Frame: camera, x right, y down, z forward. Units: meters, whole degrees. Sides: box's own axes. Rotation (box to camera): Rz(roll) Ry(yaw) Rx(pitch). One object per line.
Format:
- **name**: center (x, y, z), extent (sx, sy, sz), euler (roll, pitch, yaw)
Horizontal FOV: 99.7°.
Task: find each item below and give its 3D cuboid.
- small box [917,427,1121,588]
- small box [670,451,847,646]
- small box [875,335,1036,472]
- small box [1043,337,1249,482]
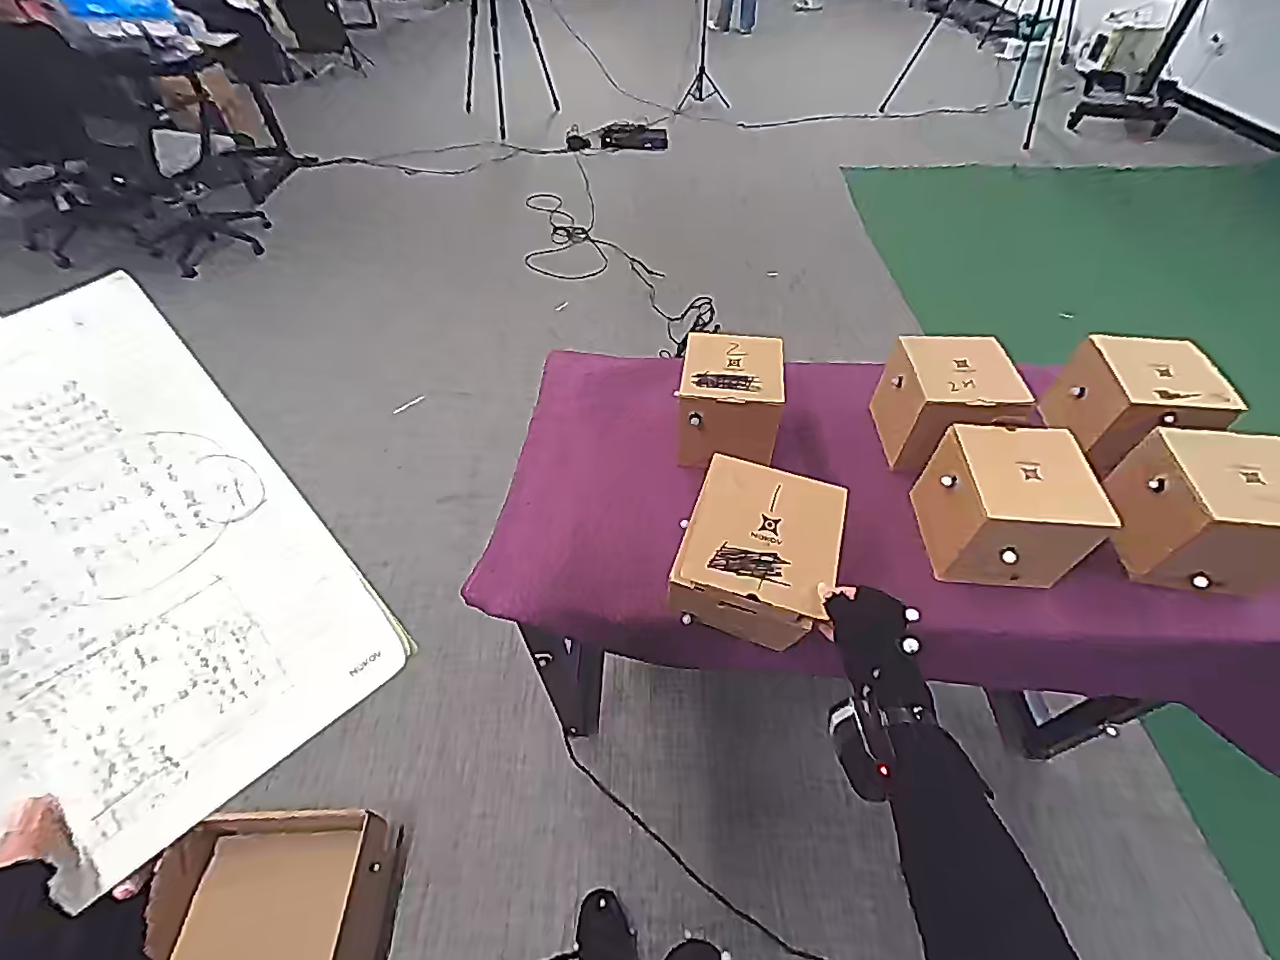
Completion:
- **small box**: center (0.537, 0.043, 0.799), extent (0.168, 0.176, 0.179), euler (4, 51, 5)
- **small box**: center (0.143, 0.096, 0.696), extent (0.168, 0.176, 0.179), euler (19, 66, 10)
- **small box**: center (0.529, -0.130, 0.941), extent (0.168, 0.176, 0.179), euler (2, 50, 3)
- **small box**: center (0.842, -0.121, 0.928), extent (0.168, 0.176, 0.179), euler (5, 50, 6)
